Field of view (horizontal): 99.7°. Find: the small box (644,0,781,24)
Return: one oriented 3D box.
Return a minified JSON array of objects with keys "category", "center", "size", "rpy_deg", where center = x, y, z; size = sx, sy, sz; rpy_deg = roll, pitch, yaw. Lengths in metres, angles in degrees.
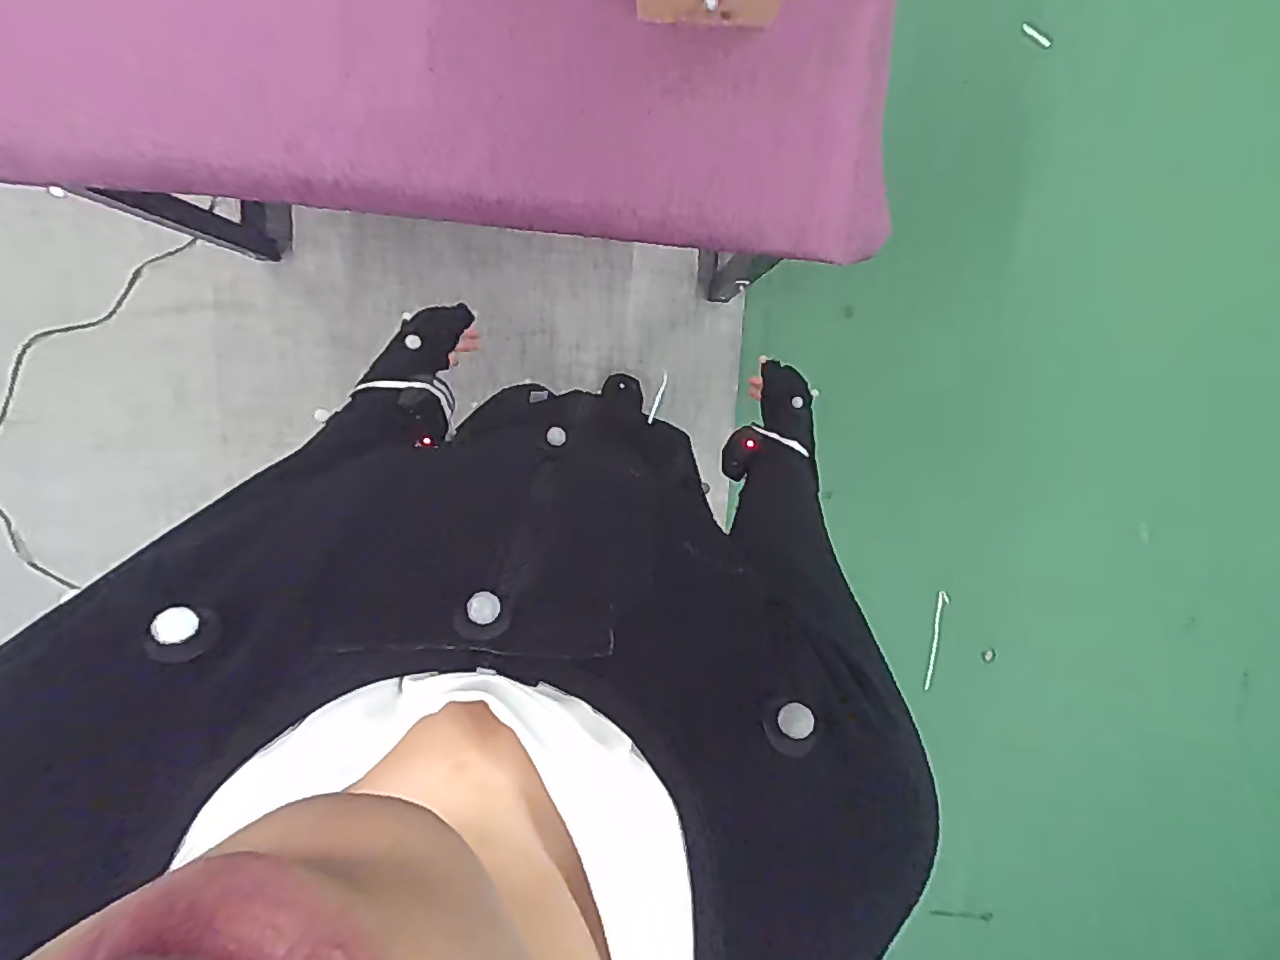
[{"category":"small box","center":[0.086,-0.622,0.552],"size":[0.168,0.176,0.179],"rpy_deg":[1,100,-3]}]
